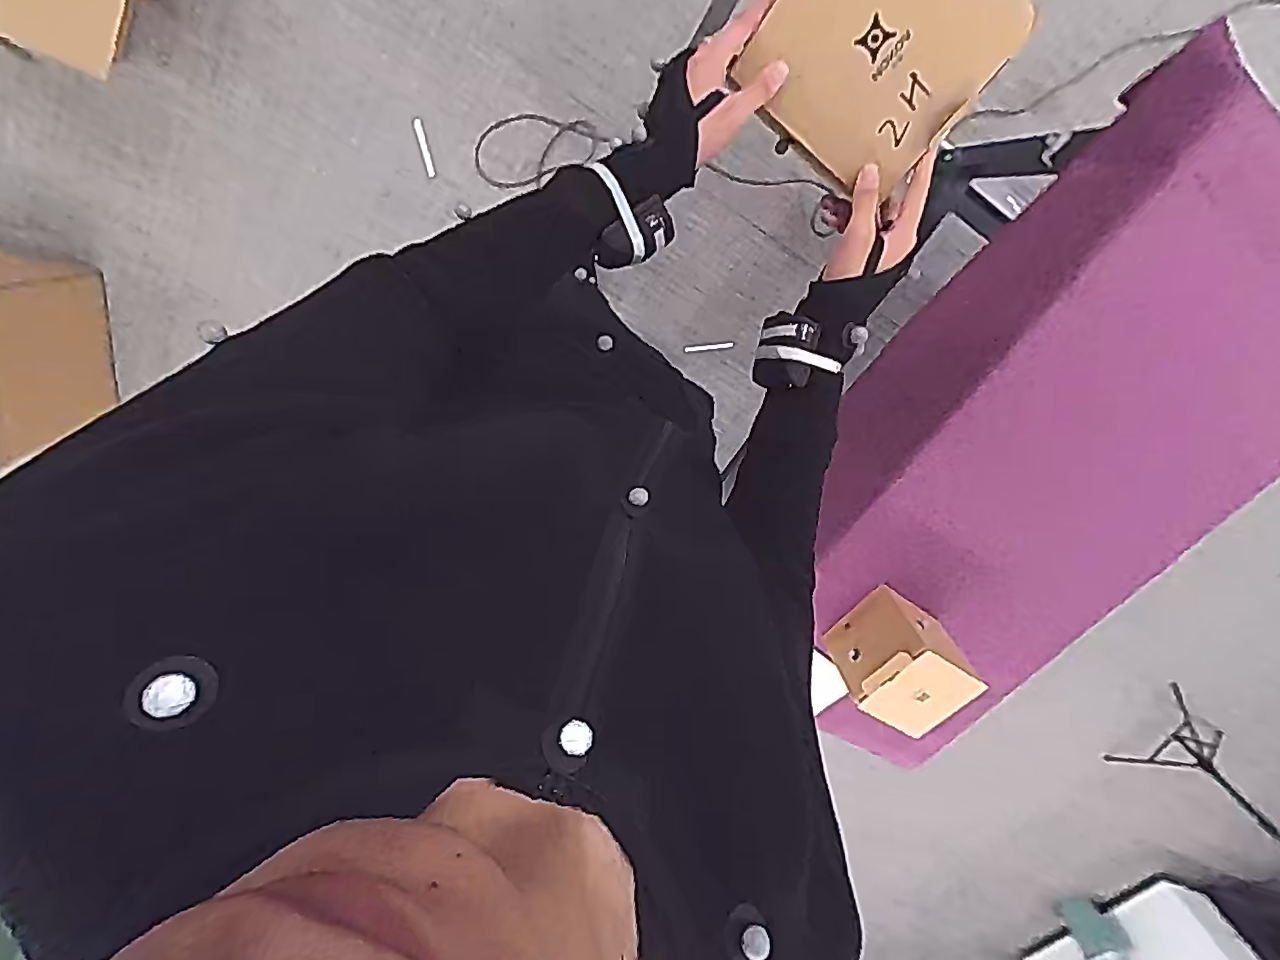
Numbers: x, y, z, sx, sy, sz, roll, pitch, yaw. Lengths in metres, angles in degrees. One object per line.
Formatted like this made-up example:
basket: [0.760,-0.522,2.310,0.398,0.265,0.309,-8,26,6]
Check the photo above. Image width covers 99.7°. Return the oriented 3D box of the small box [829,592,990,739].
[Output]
small box: [0.489,0.337,1.008,0.179,0.176,0.168,33,112,-19]
